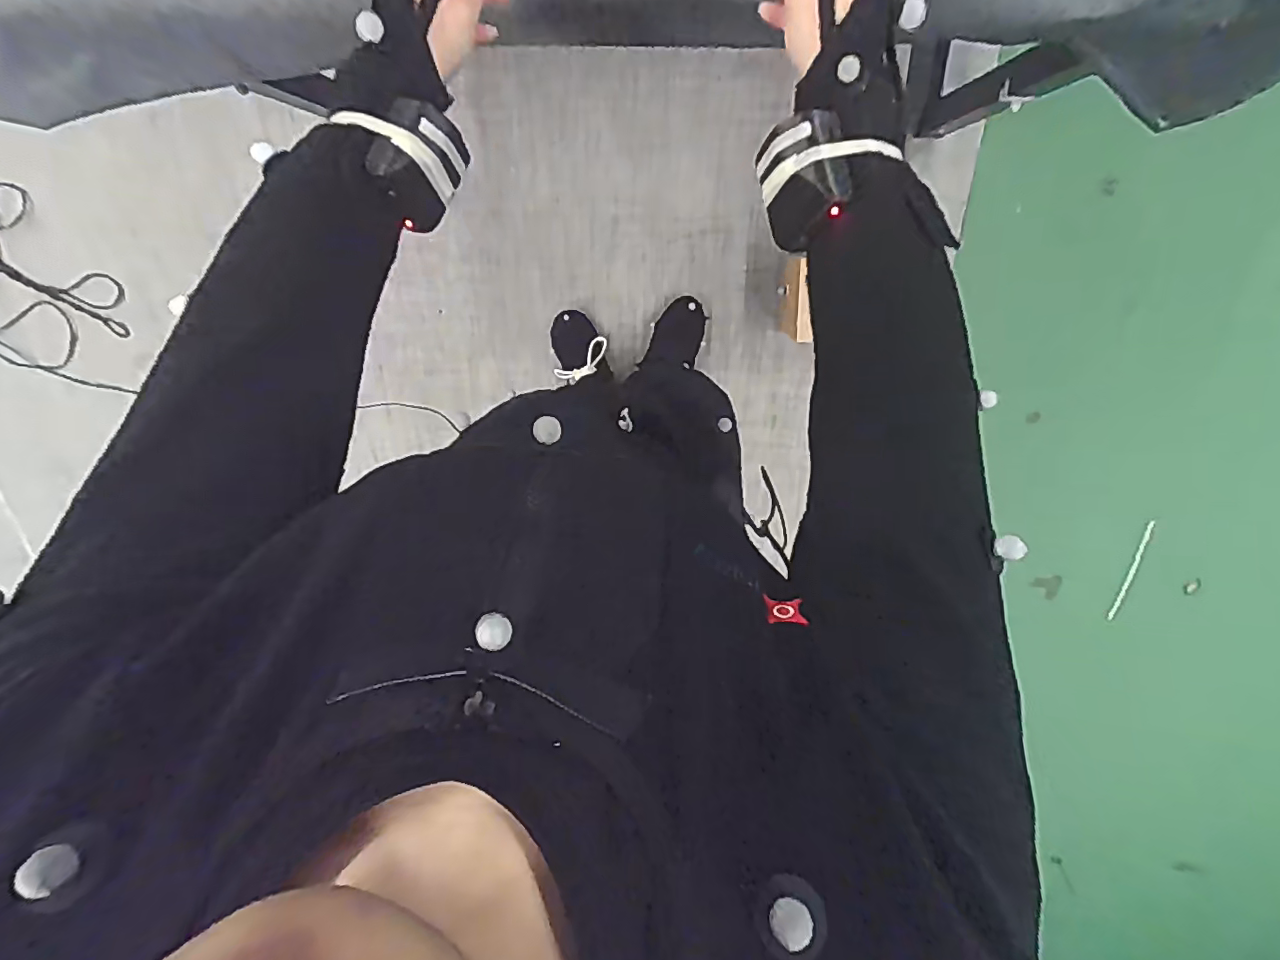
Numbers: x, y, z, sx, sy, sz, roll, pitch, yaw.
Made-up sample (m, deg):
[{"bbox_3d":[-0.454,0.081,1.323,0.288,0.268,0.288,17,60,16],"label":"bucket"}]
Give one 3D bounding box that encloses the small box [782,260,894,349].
[{"bbox_3d":[0.412,-0.376,1.150,0.179,0.176,0.168,-1,112,4],"label":"small box"}]
